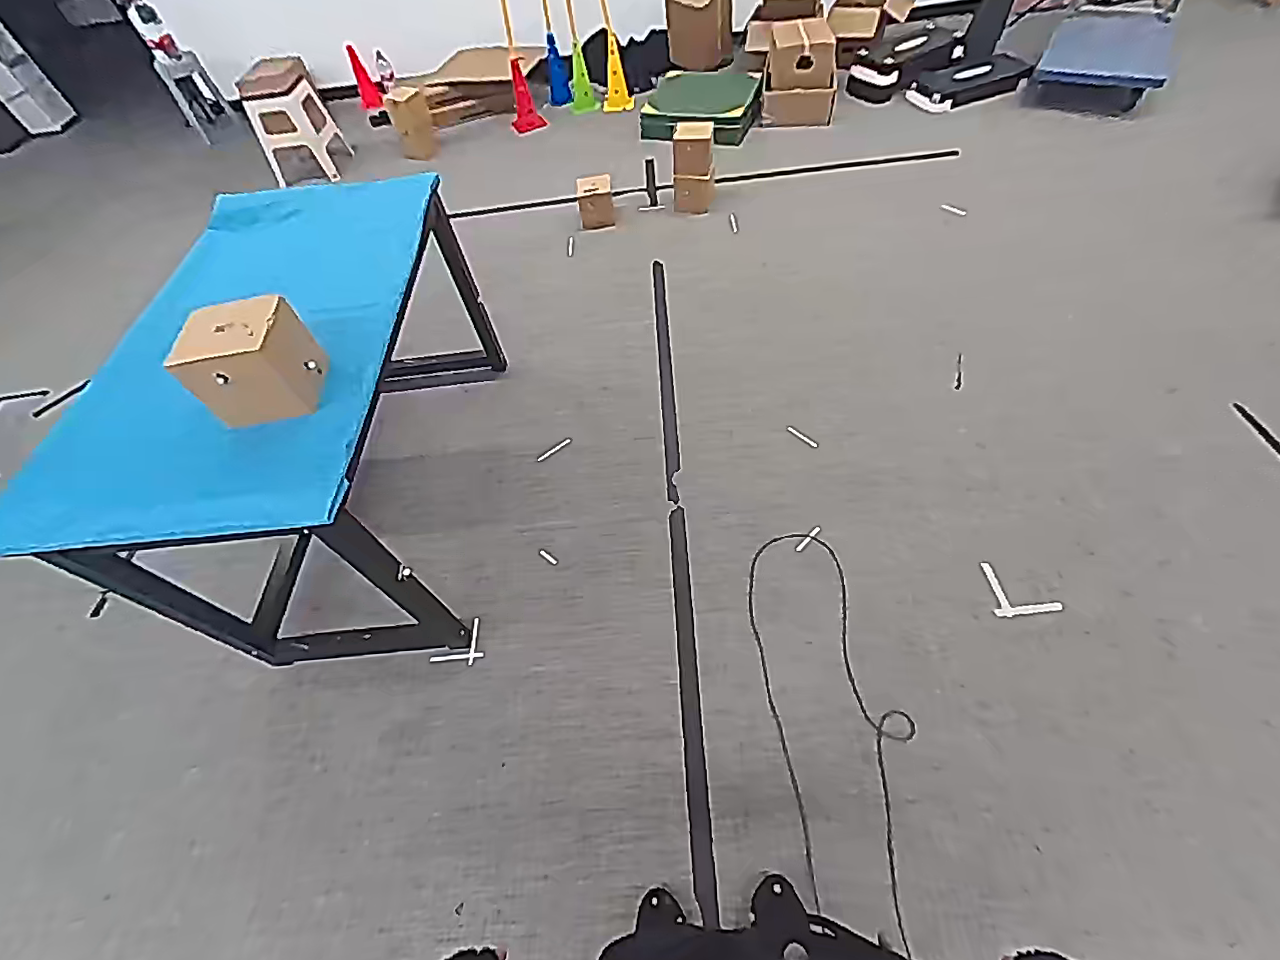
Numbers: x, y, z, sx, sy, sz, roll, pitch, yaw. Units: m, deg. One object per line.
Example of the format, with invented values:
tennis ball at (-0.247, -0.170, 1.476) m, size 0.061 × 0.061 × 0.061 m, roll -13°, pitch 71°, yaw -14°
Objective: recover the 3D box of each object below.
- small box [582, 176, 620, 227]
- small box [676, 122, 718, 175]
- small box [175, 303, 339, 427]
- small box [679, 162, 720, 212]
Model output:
small box at (-0.192, -1.387, 2.704) m, size 0.168 × 0.176 × 0.179 m, roll -7°, pitch 53°, yaw 3°
small box at (0.275, -1.579, 2.578) m, size 0.179 × 0.176 × 0.168 m, roll 7°, pitch 57°, yaw 11°
small box at (-0.738, -0.220, 1.066) m, size 0.179 × 0.176 × 0.168 m, roll -6°, pitch 55°, yaw 1°
small box at (0.296, -1.462, 2.696) m, size 0.179 × 0.176 × 0.168 m, roll 9°, pitch 56°, yaw 12°
